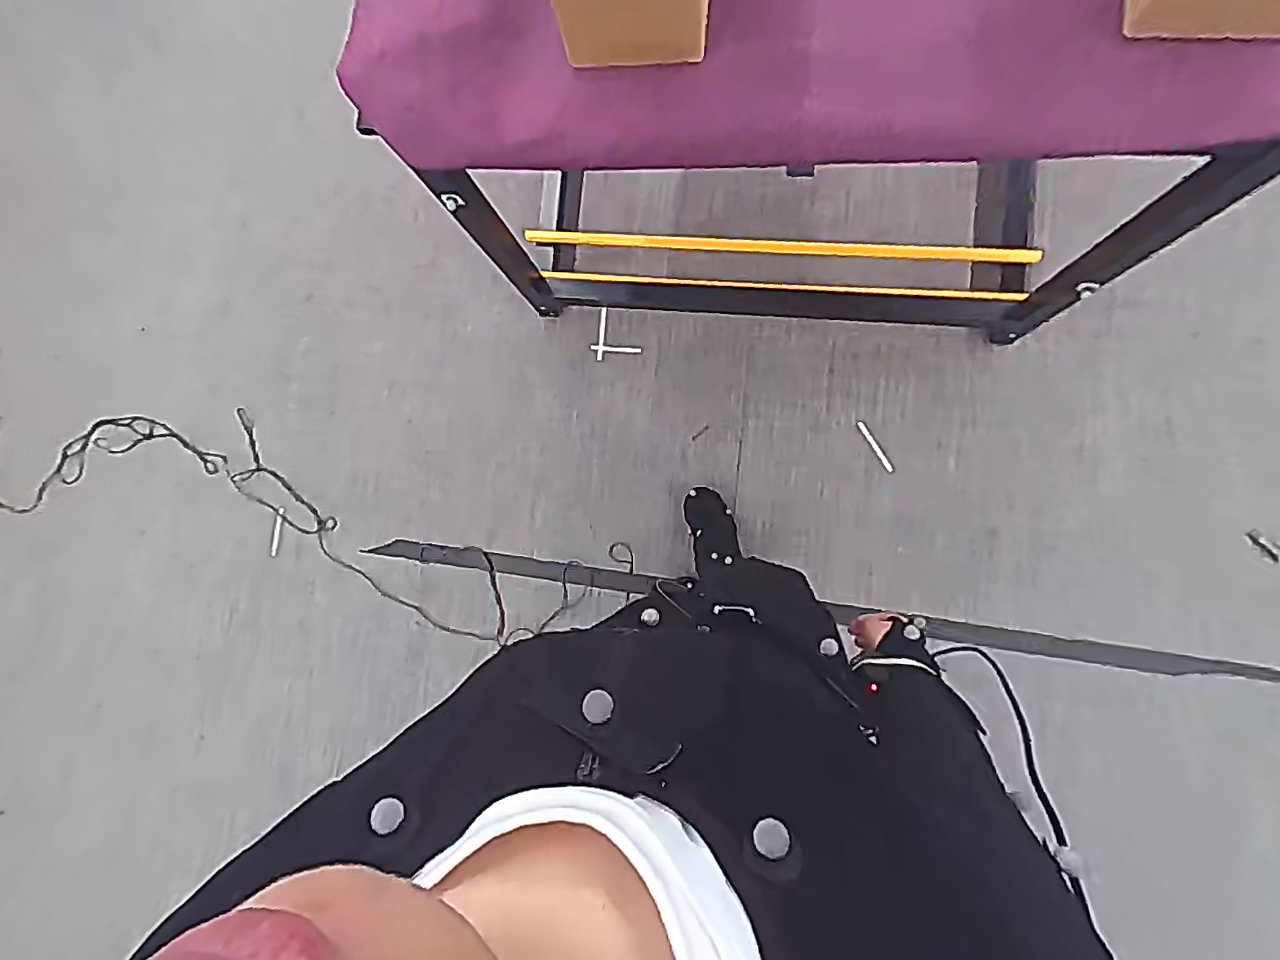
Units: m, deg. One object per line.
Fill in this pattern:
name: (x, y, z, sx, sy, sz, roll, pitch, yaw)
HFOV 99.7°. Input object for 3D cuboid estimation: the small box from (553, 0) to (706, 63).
small box: (-0.009, -0.623, 0.622, 0.179, 0.176, 0.168, 4, 86, 8)

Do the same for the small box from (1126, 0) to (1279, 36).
small box: (0.628, -0.579, 0.525, 0.179, 0.176, 0.168, 8, 86, 8)
